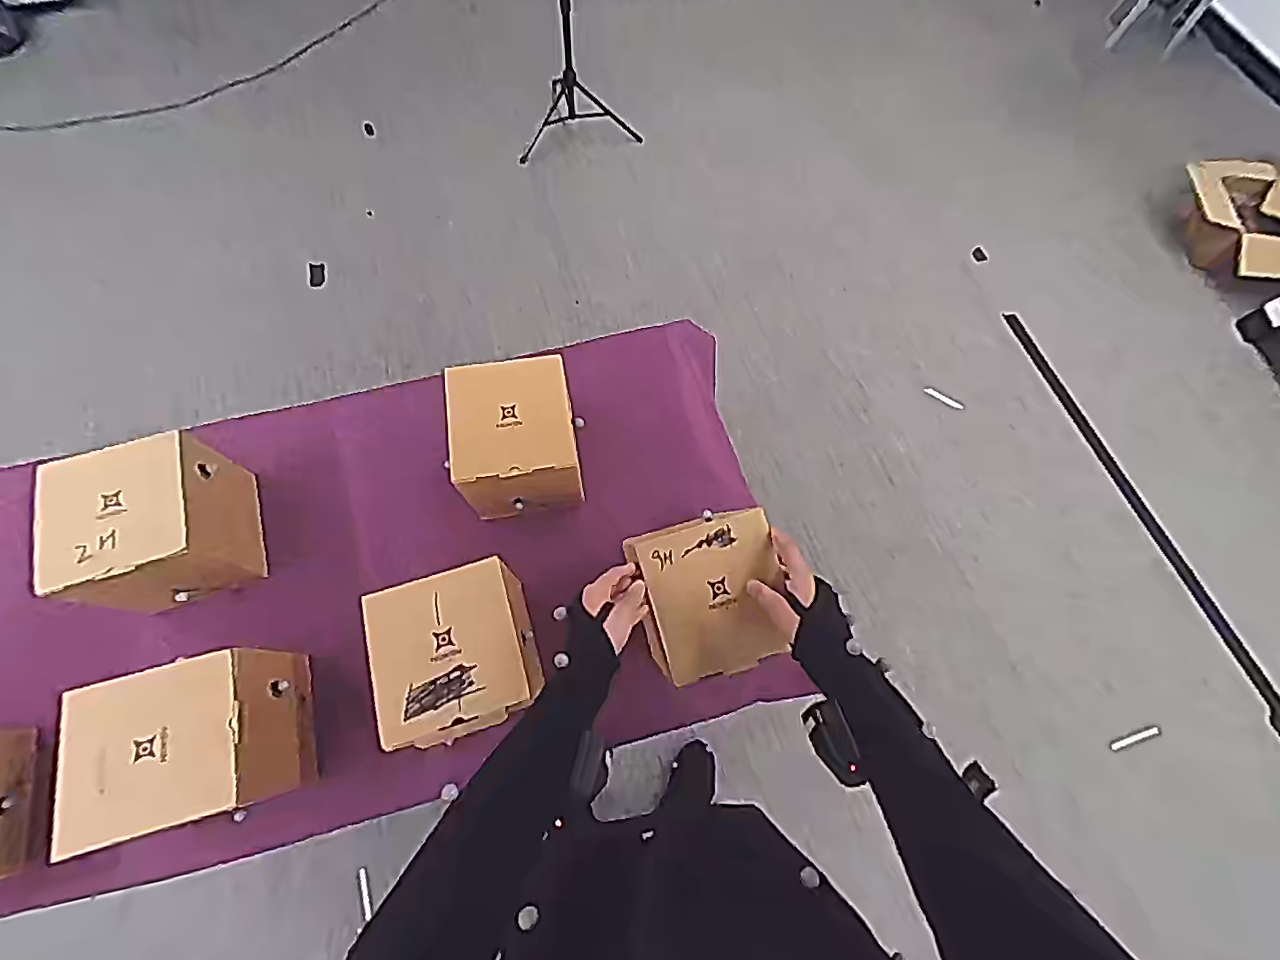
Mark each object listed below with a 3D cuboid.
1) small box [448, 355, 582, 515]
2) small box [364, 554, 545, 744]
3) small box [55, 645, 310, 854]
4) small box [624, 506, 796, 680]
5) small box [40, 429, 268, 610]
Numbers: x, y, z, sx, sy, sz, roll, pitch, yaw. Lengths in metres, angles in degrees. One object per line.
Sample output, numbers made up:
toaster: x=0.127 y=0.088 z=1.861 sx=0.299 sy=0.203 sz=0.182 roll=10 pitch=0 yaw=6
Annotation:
small box: x=-0.183 y=-0.062 z=0.816 sx=0.168 sy=0.176 sz=0.179 roll=-9 pitch=70 yaw=-6
small box: x=-0.228 y=0.218 z=0.697 sx=0.168 sy=0.176 sz=0.179 roll=-16 pitch=69 yaw=-9
small box: x=-0.520 y=0.307 z=0.647 sx=0.179 sy=0.176 sz=0.168 roll=-14 pitch=69 yaw=-9
small box: x=0.081 y=0.139 z=0.720 sx=0.168 sy=0.176 sz=0.179 roll=-14 pitch=86 yaw=-8
small box: x=-0.649 y=0.060 z=0.743 sx=0.168 sy=0.176 sz=0.179 roll=-18 pitch=70 yaw=-10
